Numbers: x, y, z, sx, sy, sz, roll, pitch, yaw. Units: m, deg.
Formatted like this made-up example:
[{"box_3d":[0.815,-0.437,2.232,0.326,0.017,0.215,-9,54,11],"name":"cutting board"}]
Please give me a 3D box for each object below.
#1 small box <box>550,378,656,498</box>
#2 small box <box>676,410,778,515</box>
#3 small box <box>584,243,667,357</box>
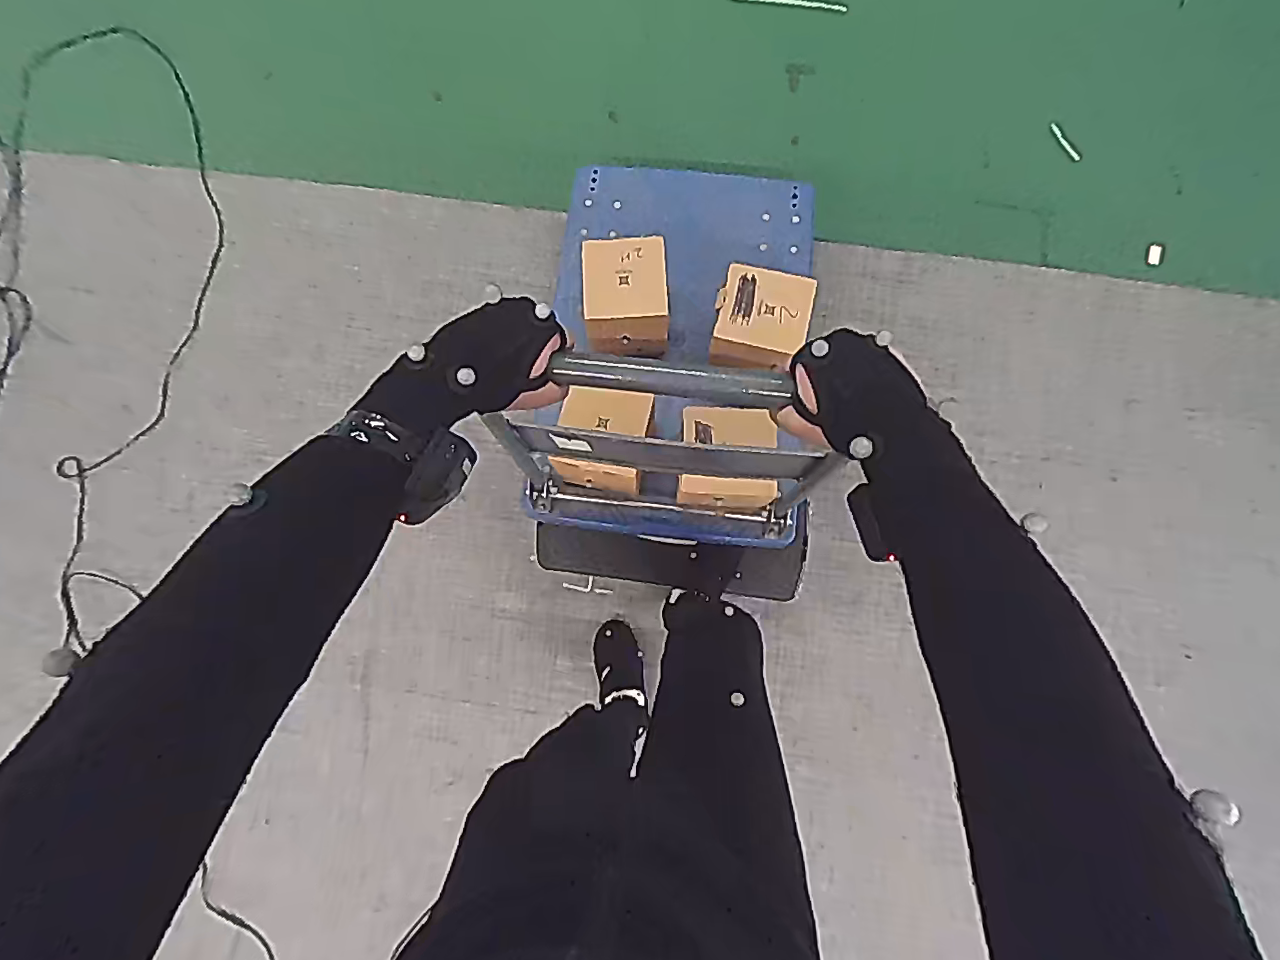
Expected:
[{"box_3d":[-0.068,-0.076,1.075,0.168,0.176,0.179,13,78,3],"name":"small box"},{"box_3d":[0.163,-0.028,1.057,0.179,0.176,0.168,3,78,1],"name":"small box"},{"box_3d":[-0.027,-0.370,1.139,0.168,0.176,0.179,-2,77,0],"name":"small box"}]
